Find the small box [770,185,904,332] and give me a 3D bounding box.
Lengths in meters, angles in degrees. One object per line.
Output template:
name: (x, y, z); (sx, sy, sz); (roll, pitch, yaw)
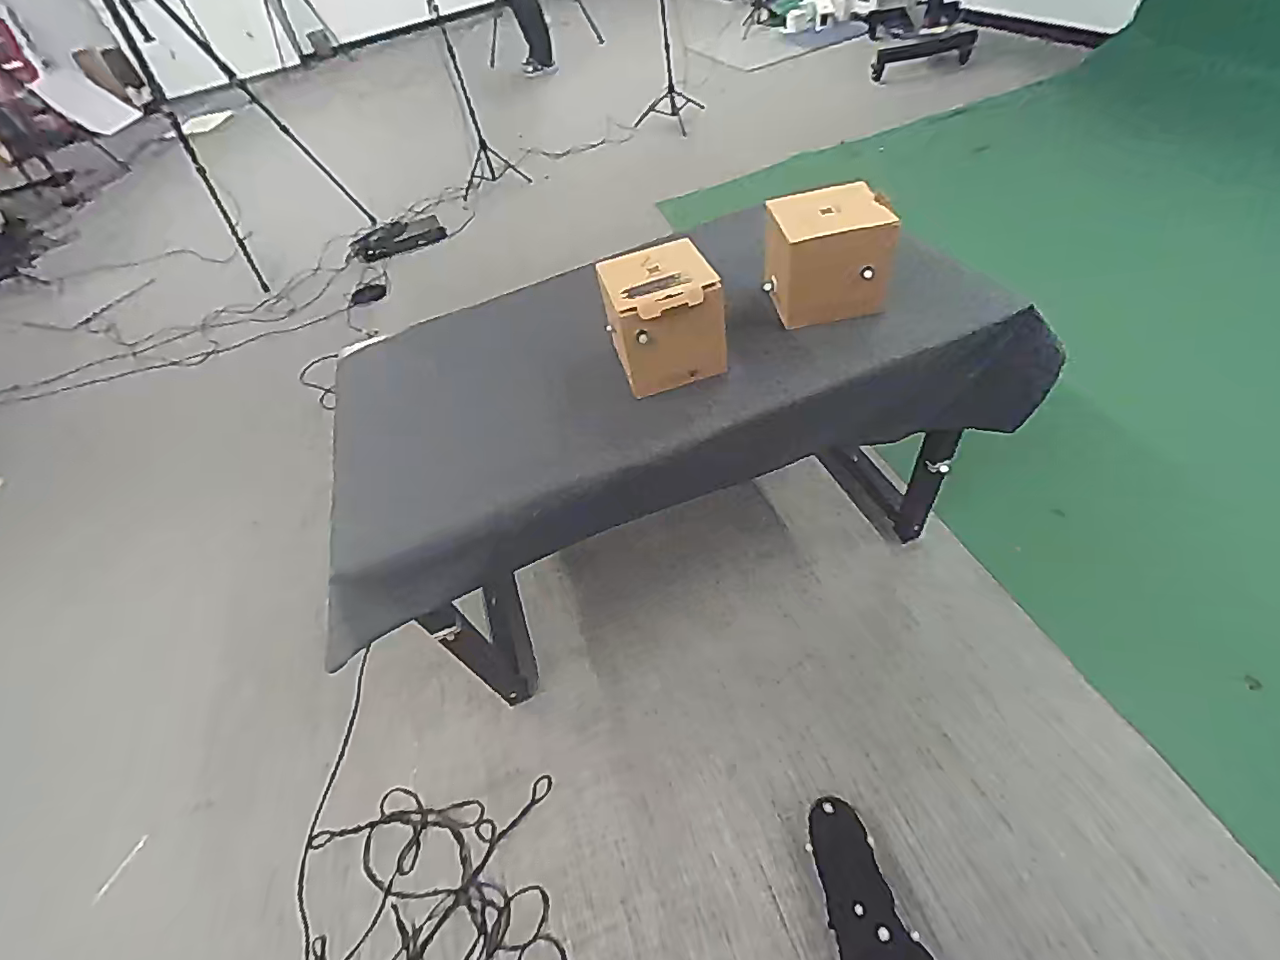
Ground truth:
small box: (0.336, -0.390, 0.963); (0.179, 0.176, 0.168); (-11, 48, 4)
